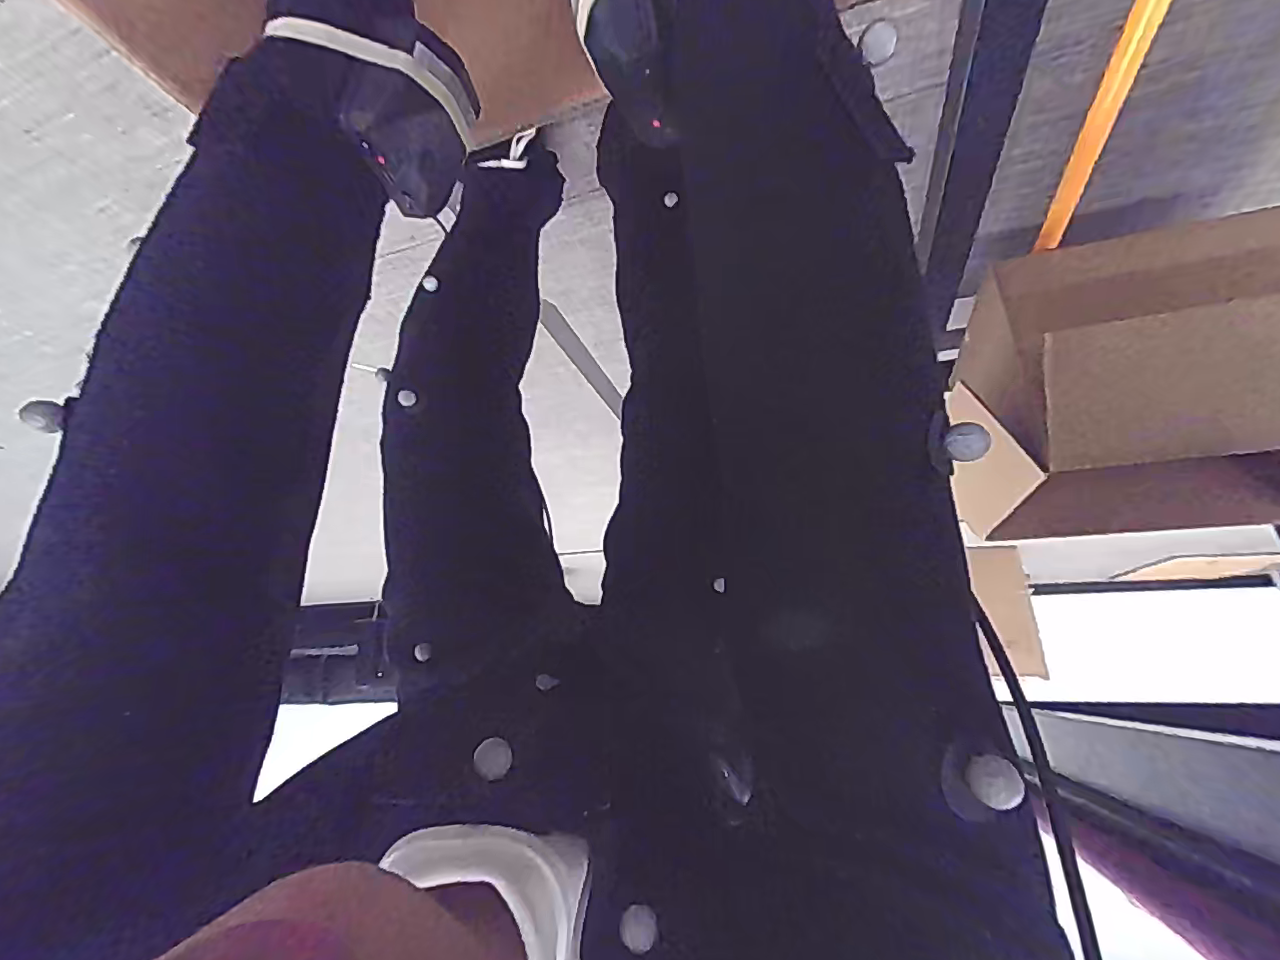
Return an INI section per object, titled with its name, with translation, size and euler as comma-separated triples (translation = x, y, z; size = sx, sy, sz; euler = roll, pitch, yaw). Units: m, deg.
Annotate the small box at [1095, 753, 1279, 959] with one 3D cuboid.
[small box]
translation = 0.672, 0.415, 0.622
size = 0.168, 0.176, 0.179
euler = -6, 158, 12
